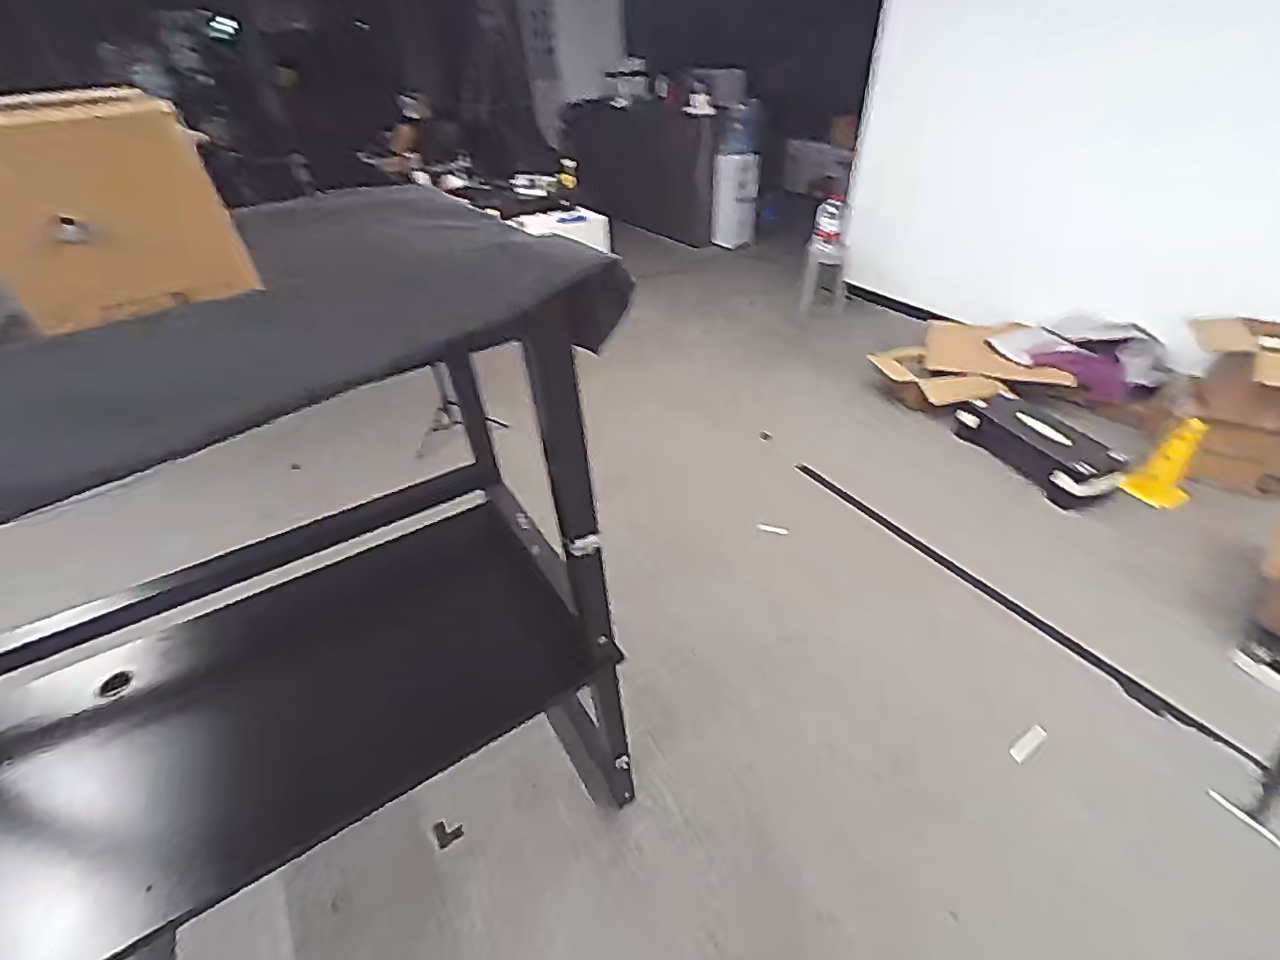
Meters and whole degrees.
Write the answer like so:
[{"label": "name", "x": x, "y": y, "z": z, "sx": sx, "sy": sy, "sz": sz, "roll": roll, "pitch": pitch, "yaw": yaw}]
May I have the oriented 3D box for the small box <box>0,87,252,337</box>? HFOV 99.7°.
[{"label": "small box", "x": -0.492, "y": -0.247, "z": 0.498, "sx": 0.168, "sy": 0.176, "sz": 0.179, "roll": -26, "pitch": 44, "yaw": -25}]
